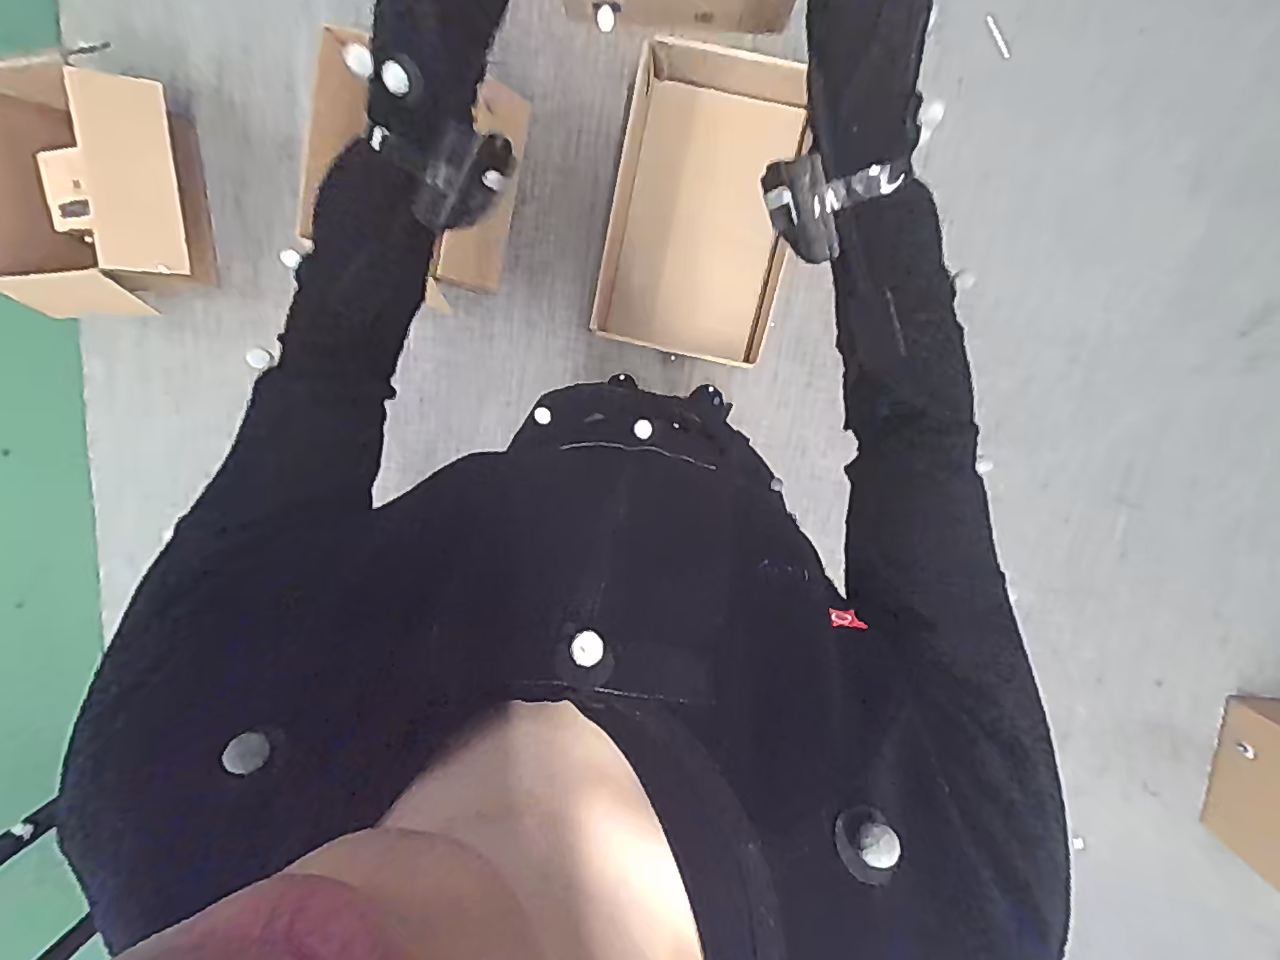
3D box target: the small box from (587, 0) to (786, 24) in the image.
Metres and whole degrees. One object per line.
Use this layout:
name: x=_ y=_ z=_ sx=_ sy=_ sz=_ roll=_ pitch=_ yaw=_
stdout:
small box: x=0.026 y=-0.403 z=0.305 sx=0.168 sy=0.176 sz=0.179 roll=4 pitch=105 yaw=1
